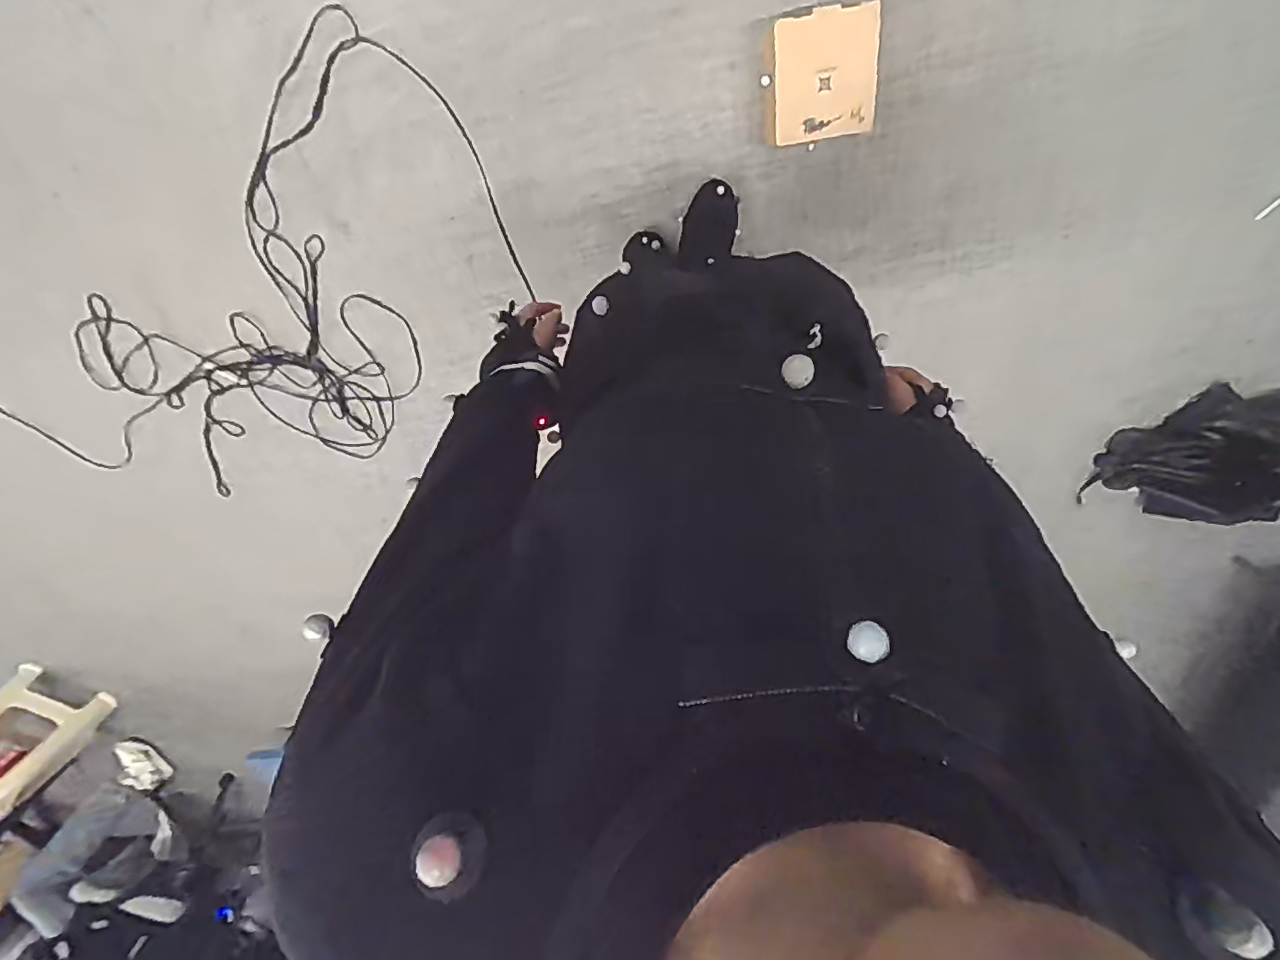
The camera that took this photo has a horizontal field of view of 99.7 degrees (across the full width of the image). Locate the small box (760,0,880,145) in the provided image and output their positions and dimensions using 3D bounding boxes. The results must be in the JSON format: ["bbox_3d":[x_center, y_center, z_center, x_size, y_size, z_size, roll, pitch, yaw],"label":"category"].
[{"bbox_3d":[0.307,-0.707,0.955,0.168,0.176,0.179,-6,121,7],"label":"small box"}]
